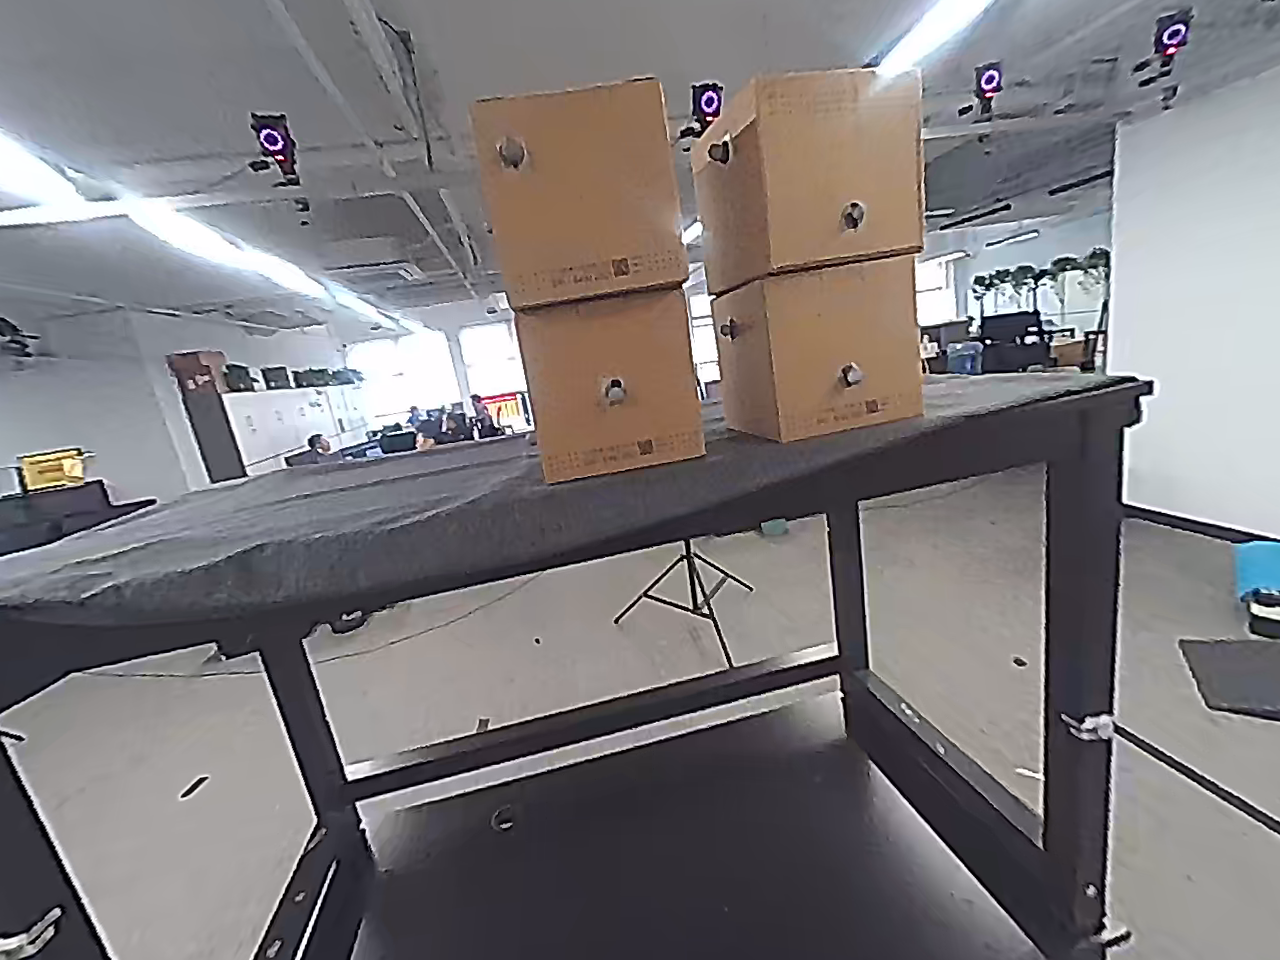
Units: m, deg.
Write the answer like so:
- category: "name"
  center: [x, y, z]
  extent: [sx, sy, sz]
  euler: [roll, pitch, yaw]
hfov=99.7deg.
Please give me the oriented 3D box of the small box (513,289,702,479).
- category: "small box"
  center: [-0.035, -0.102, 0.601]
  extent: [0.168, 0.176, 0.179]
  euler: [-10, 12, -6]

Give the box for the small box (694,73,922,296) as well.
- category: "small box"
  center: [0.172, -0.307, 0.583]
  extent: [0.179, 0.176, 0.168]
  euler: [-11, 12, -12]

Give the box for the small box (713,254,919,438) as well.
- category: "small box"
  center: [0.195, -0.148, 0.630]
  extent: [0.168, 0.176, 0.179]
  euler: [-12, 13, -7]
